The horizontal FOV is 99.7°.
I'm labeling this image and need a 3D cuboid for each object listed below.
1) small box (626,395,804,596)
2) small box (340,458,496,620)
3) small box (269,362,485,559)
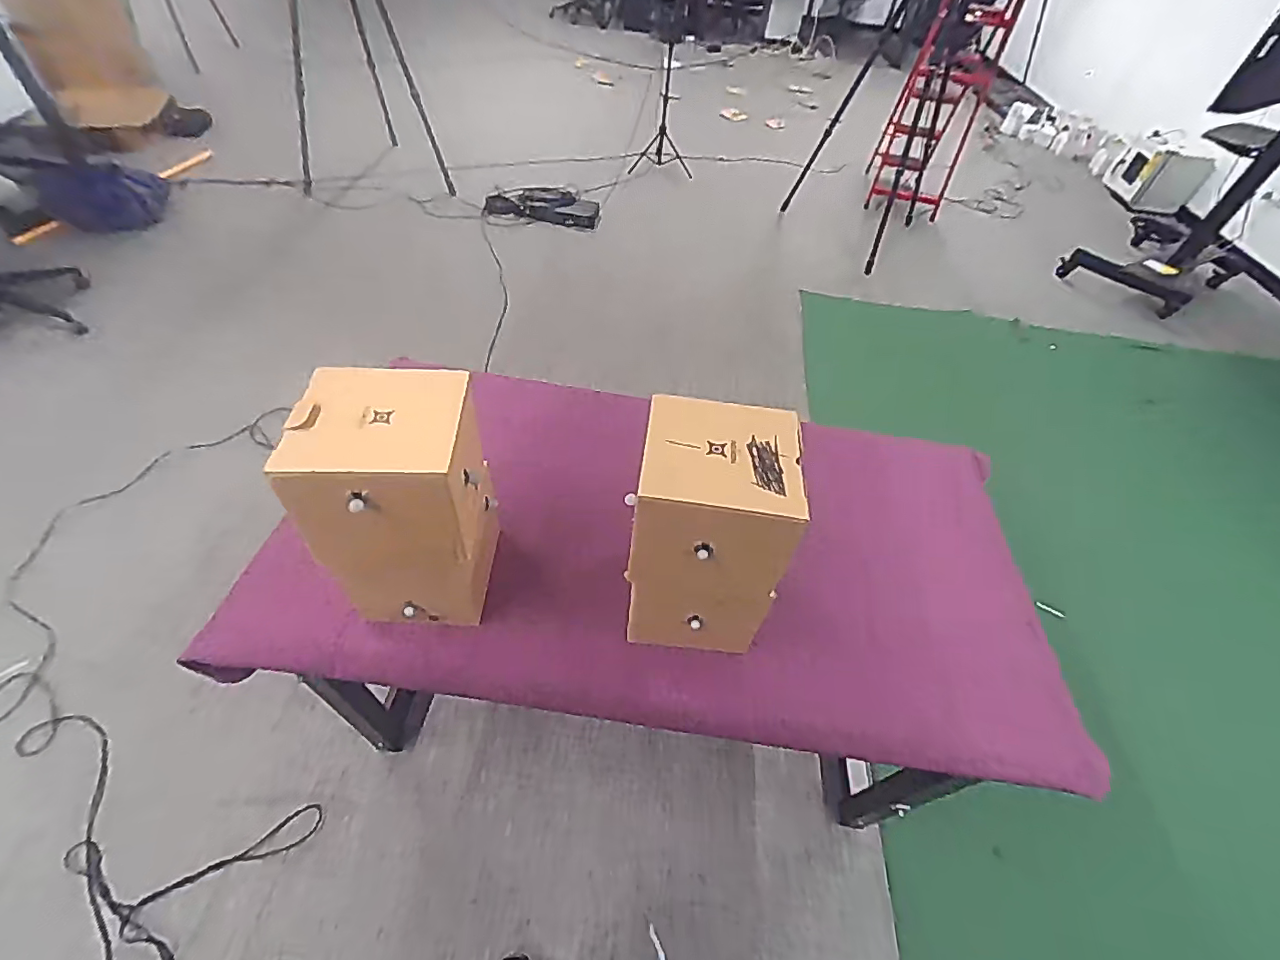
[{"bbox_3d":[0.084,0.024,0.658,0.179,0.176,0.168,9,49,1],"label":"small box"},{"bbox_3d":[-0.306,0.078,0.773,0.168,0.176,0.179,5,50,-4],"label":"small box"},{"bbox_3d":[-0.287,-0.018,0.643,0.179,0.176,0.168,1,49,-7],"label":"small box"}]
